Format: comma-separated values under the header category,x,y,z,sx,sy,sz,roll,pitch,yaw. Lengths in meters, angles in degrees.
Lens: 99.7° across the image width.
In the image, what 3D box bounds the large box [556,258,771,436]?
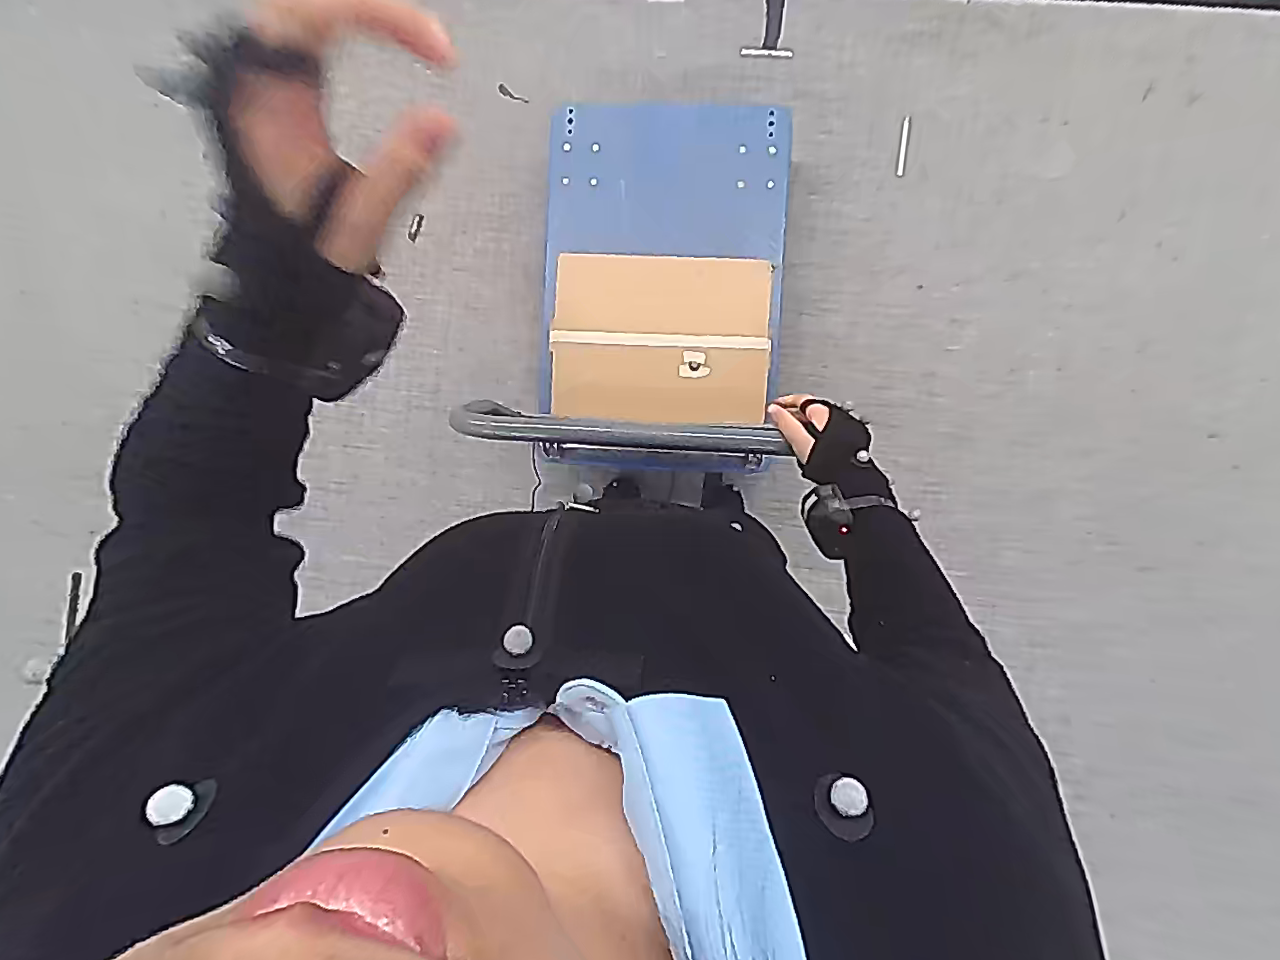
category,x,y,z,sx,sy,sz,roll,pitch,yaw
large box,0.046,-0.264,1.171,0.408,0.320,0.320,3,92,2
